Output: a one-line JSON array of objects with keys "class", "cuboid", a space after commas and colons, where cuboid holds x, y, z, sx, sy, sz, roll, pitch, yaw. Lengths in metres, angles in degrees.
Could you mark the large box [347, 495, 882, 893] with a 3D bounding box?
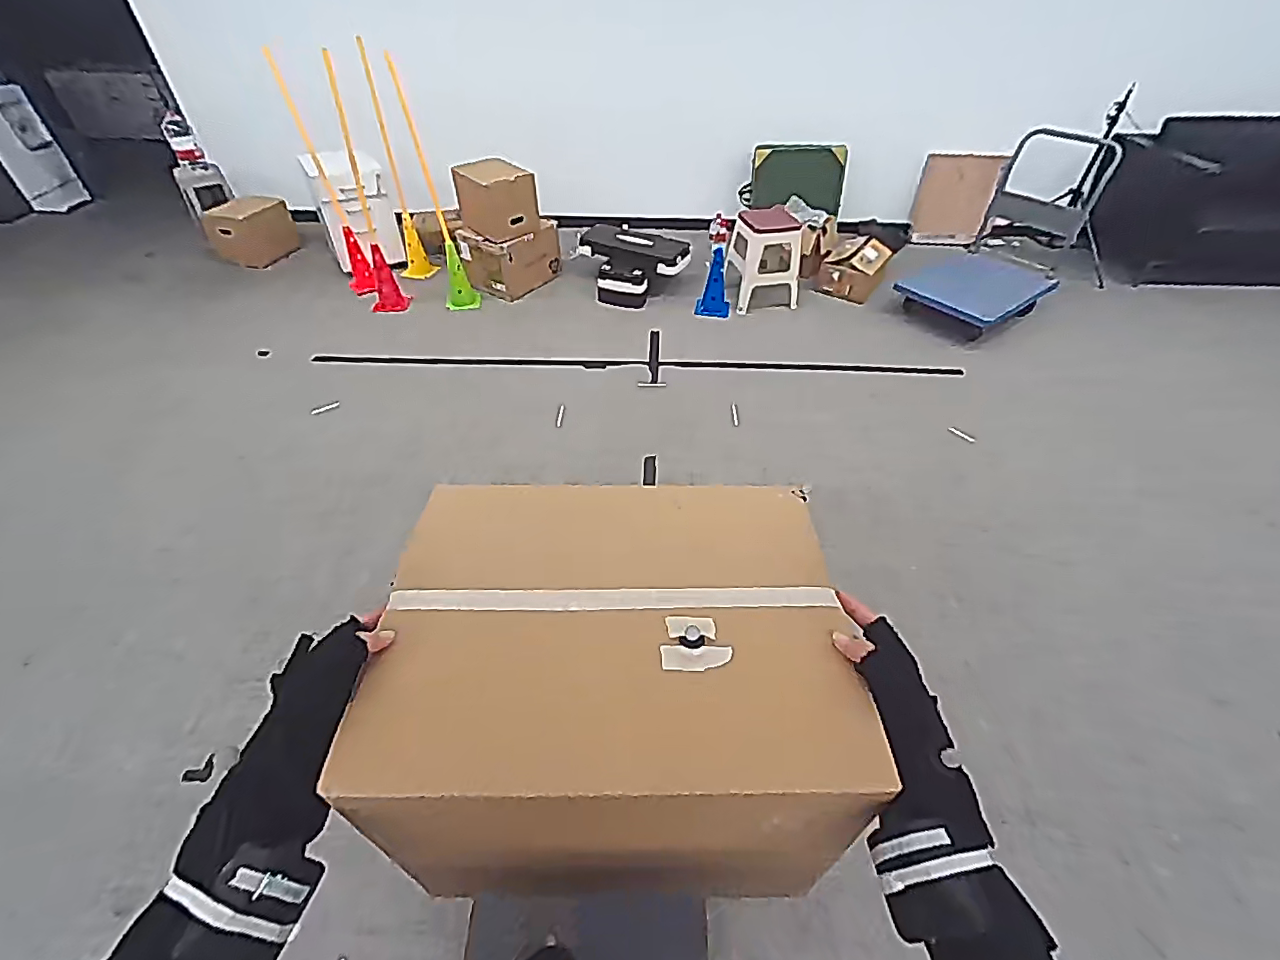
[{"class": "large box", "cuboid": [-0.022, 0.231, 0.603, 0.408, 0.320, 0.320, 0, 42, -1]}]
